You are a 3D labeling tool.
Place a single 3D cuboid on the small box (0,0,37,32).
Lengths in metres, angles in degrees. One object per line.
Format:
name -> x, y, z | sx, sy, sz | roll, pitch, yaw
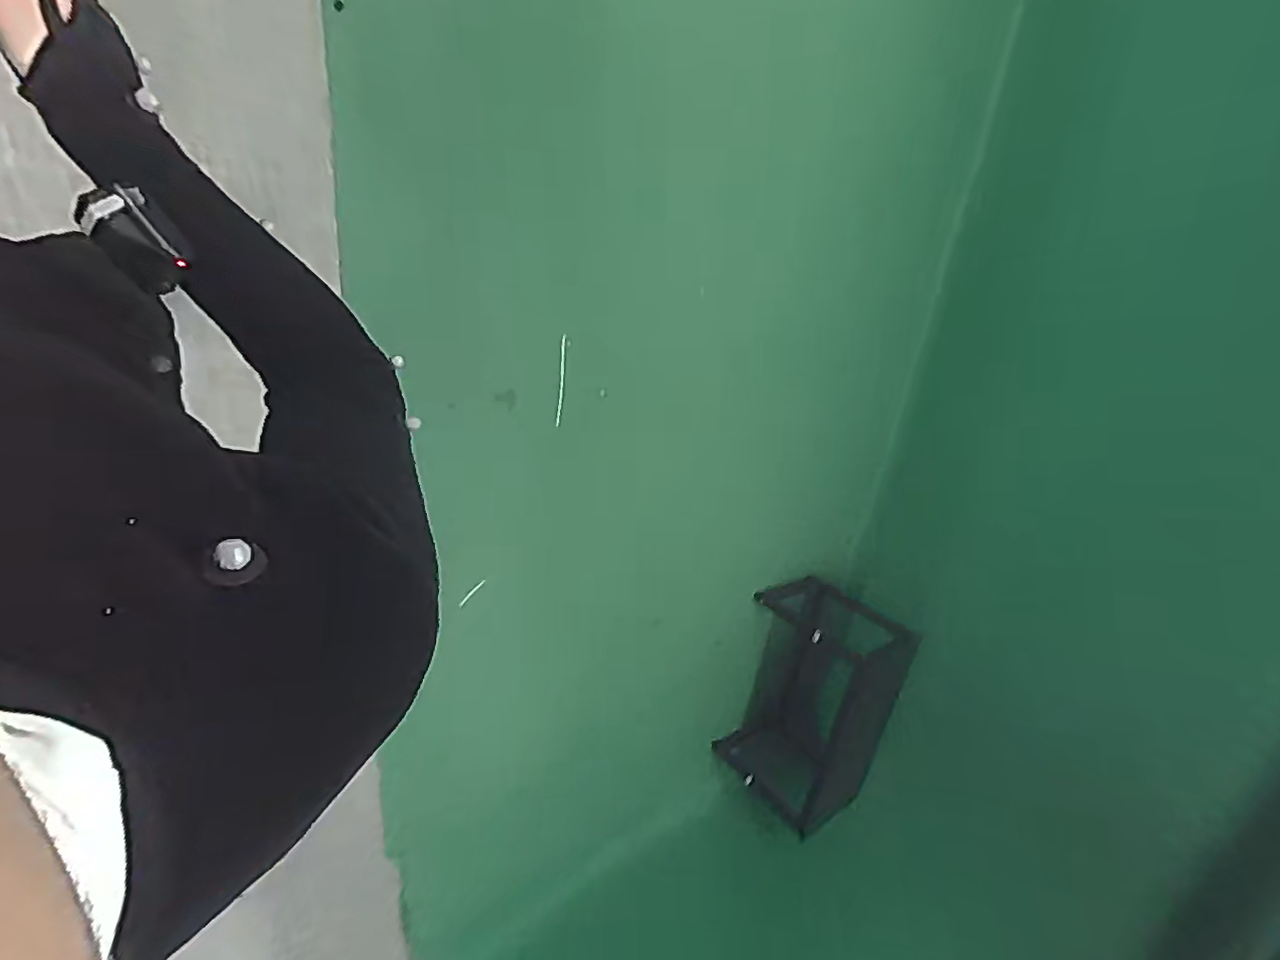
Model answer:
small box -> -0.569, -0.449, 0.376 | 0.179, 0.176, 0.168 | -7, 117, -37
